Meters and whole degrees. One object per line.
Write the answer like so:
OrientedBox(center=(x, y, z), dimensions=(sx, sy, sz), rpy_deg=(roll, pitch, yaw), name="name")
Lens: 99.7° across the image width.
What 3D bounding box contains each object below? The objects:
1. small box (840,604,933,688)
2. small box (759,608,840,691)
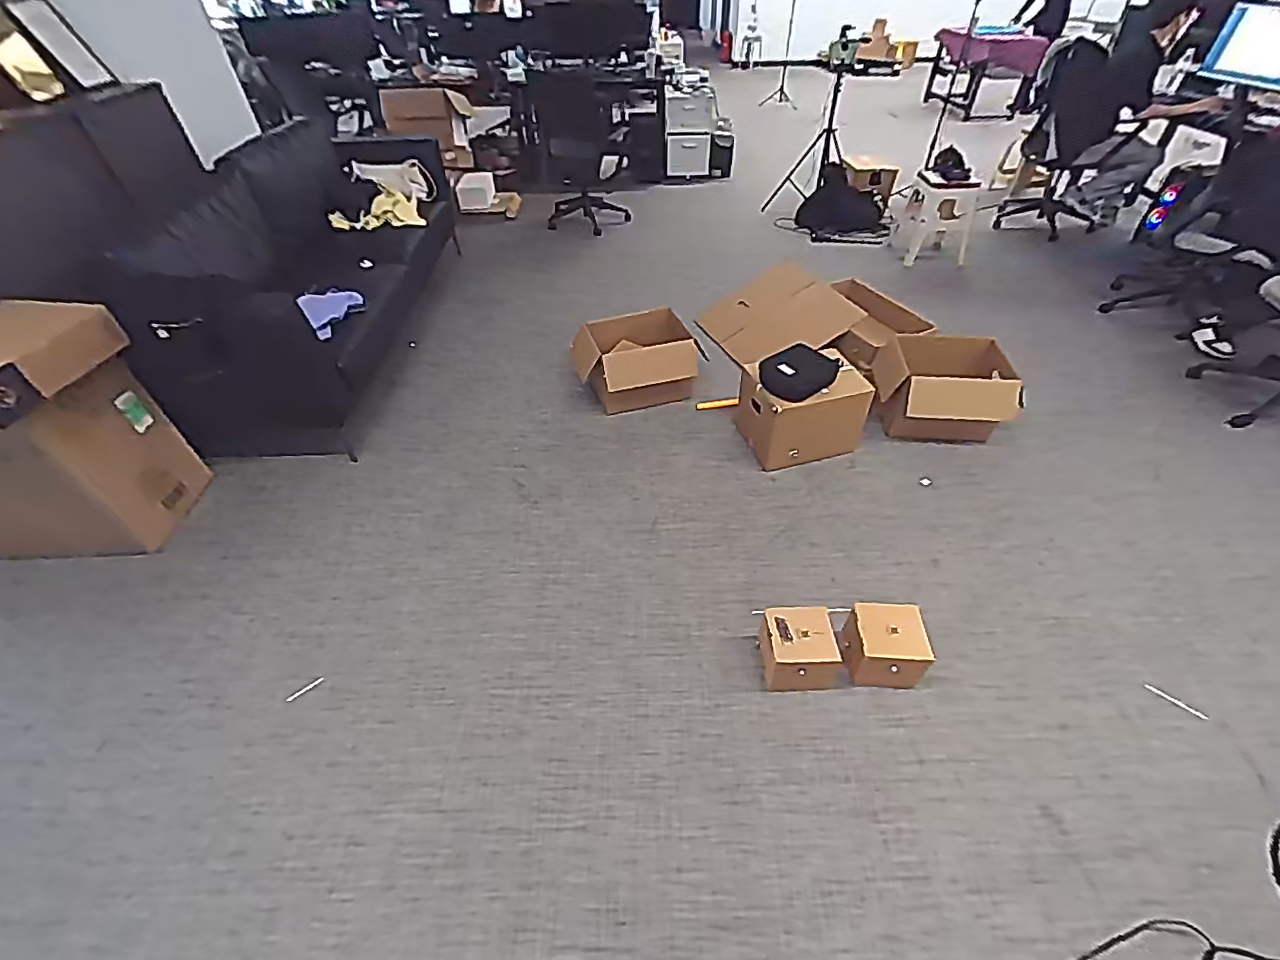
OrientedBox(center=(0.678, 0.466, 1.507), dimensions=(0.179, 0.176, 0.168), rpy_deg=(1, 45, 5), name="small box")
OrientedBox(center=(0.433, 0.476, 1.507), dimensions=(0.179, 0.176, 0.168), rpy_deg=(-1, 44, 0), name="small box")
